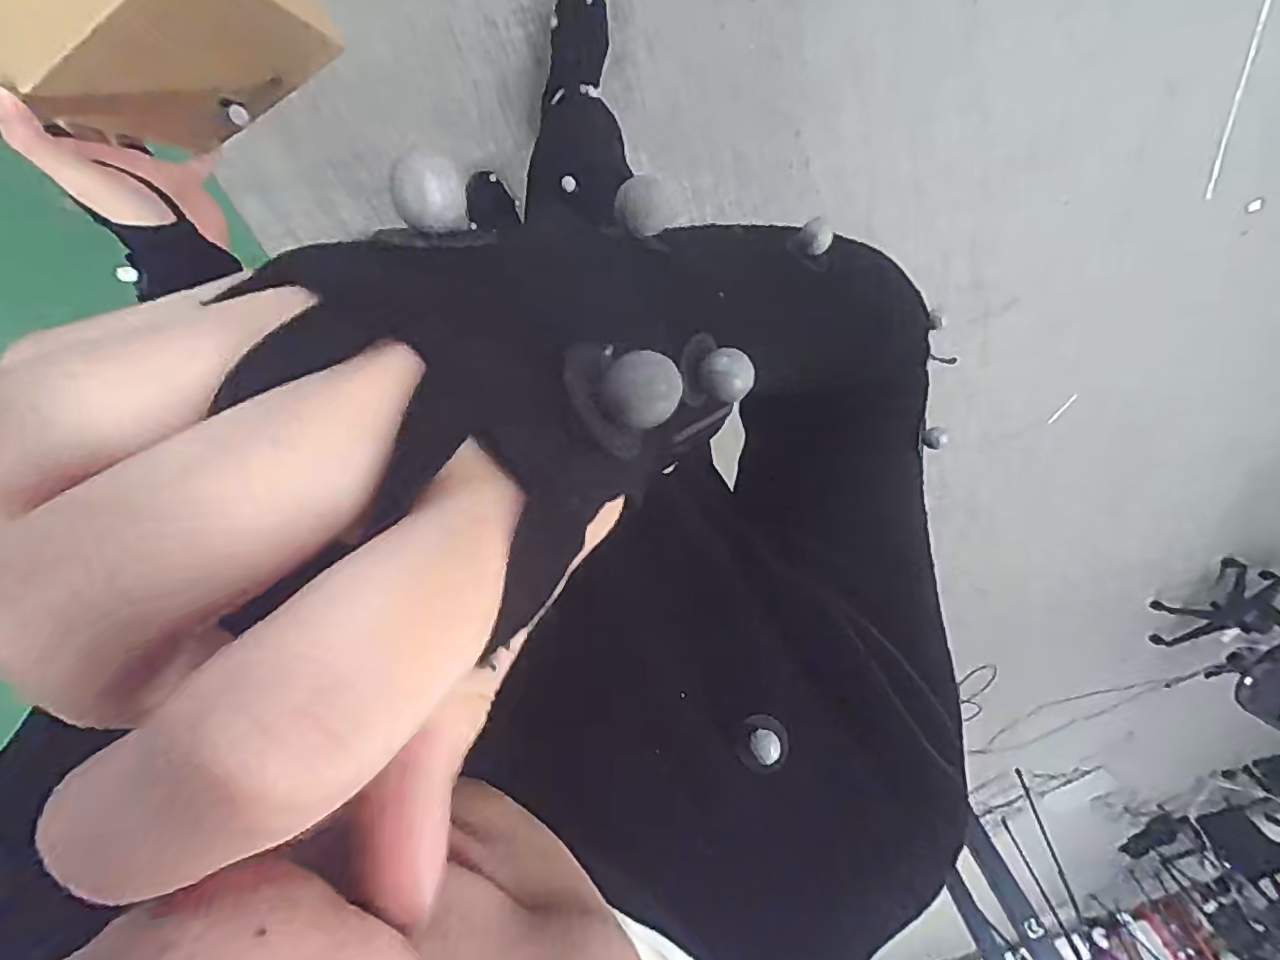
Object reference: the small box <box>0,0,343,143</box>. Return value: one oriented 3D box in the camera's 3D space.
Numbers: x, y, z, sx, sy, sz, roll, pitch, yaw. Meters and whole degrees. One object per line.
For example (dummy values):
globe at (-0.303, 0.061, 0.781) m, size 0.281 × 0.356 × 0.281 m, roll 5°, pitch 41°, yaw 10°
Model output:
small box at (-0.357, -0.373, 0.371) m, size 0.168 × 0.176 × 0.179 m, roll -25°, pitch 109°, yaw 13°
